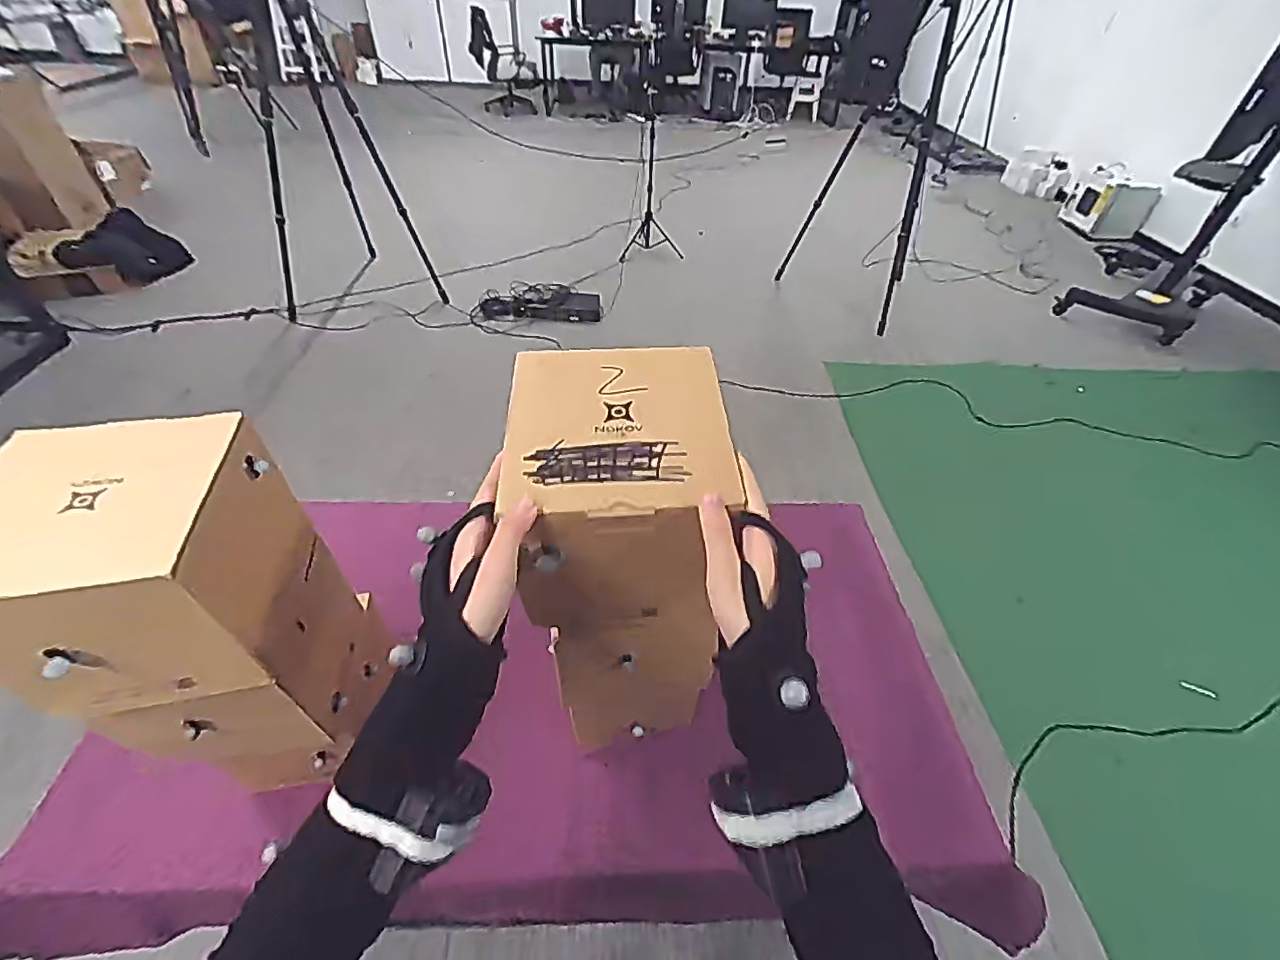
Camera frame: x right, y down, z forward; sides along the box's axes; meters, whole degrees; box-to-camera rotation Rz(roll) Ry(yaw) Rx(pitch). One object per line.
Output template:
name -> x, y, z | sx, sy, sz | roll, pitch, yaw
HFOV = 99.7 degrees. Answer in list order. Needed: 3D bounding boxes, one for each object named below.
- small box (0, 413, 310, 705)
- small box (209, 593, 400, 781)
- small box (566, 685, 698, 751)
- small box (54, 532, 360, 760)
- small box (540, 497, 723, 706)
small box -> -0.407, 0.068, 0.453 | 0.168, 0.176, 0.179 | -7, 45, -11
small box -> -0.429, 0.274, 0.708 | 0.168, 0.176, 0.179 | -4, 44, -8
small box -> -0.028, 0.245, 0.755 | 0.168, 0.176, 0.179 | -9, 46, -11
small box -> -0.424, 0.176, 0.575 | 0.179, 0.176, 0.168 | -4, 45, -8
small box -> -0.017, 0.142, 0.626 | 0.179, 0.176, 0.168 | -5, 46, -8
